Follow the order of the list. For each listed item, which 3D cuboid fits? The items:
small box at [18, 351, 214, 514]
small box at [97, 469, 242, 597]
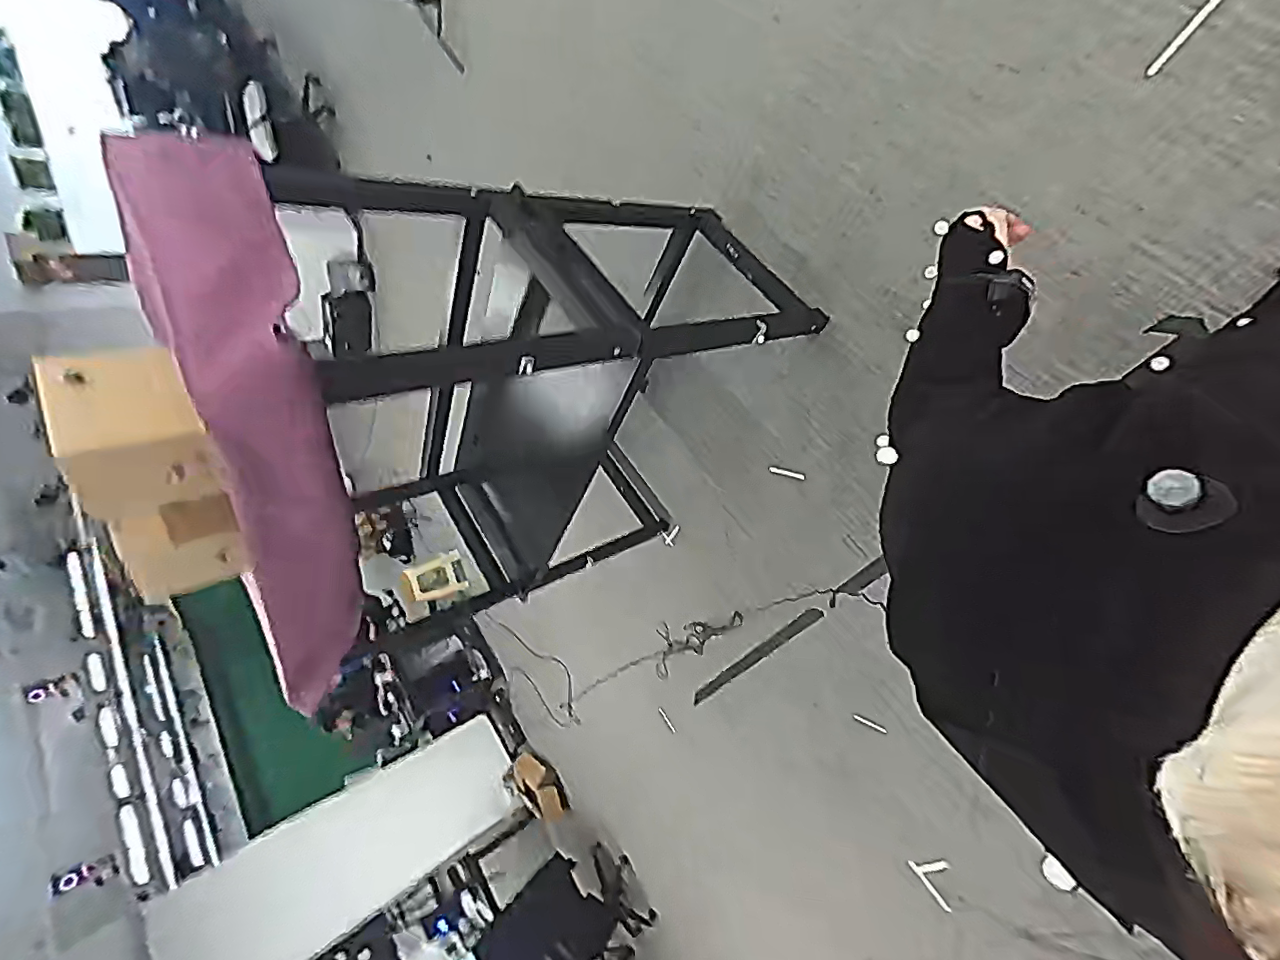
[{"bbox_3d":[-0.776,-0.079,0.818,0.179,0.176,0.168,56,141,19],"label":"small box"},{"bbox_3d":[-0.872,0.086,1.008,0.168,0.176,0.179,57,139,19],"label":"small box"}]
